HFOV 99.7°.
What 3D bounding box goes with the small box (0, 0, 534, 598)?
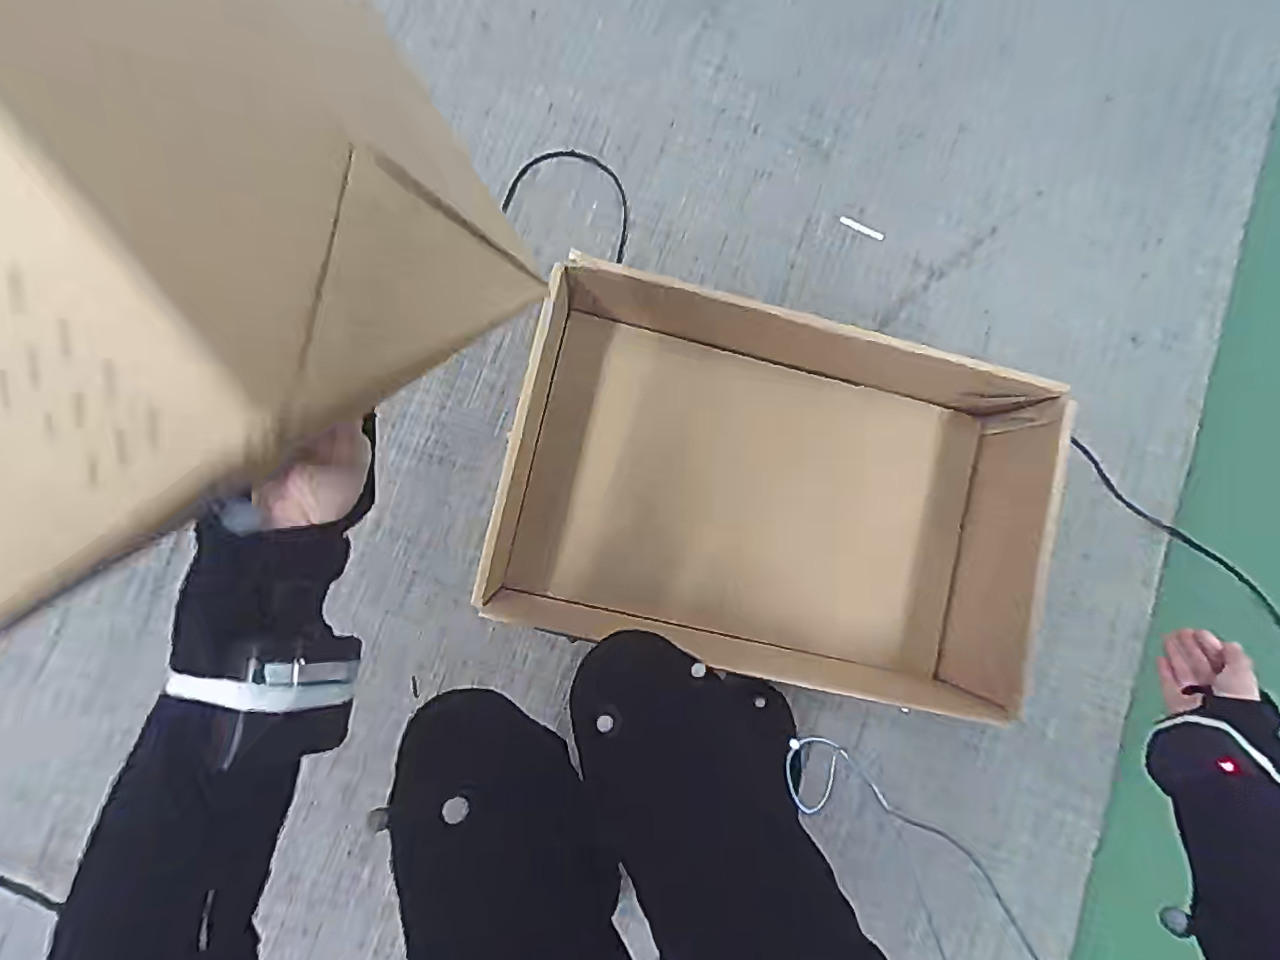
[{"bbox_3d":[-0.150,-0.083,0.144,0.176,0.179,0.168,-28,109,13],"label":"small box"}]
